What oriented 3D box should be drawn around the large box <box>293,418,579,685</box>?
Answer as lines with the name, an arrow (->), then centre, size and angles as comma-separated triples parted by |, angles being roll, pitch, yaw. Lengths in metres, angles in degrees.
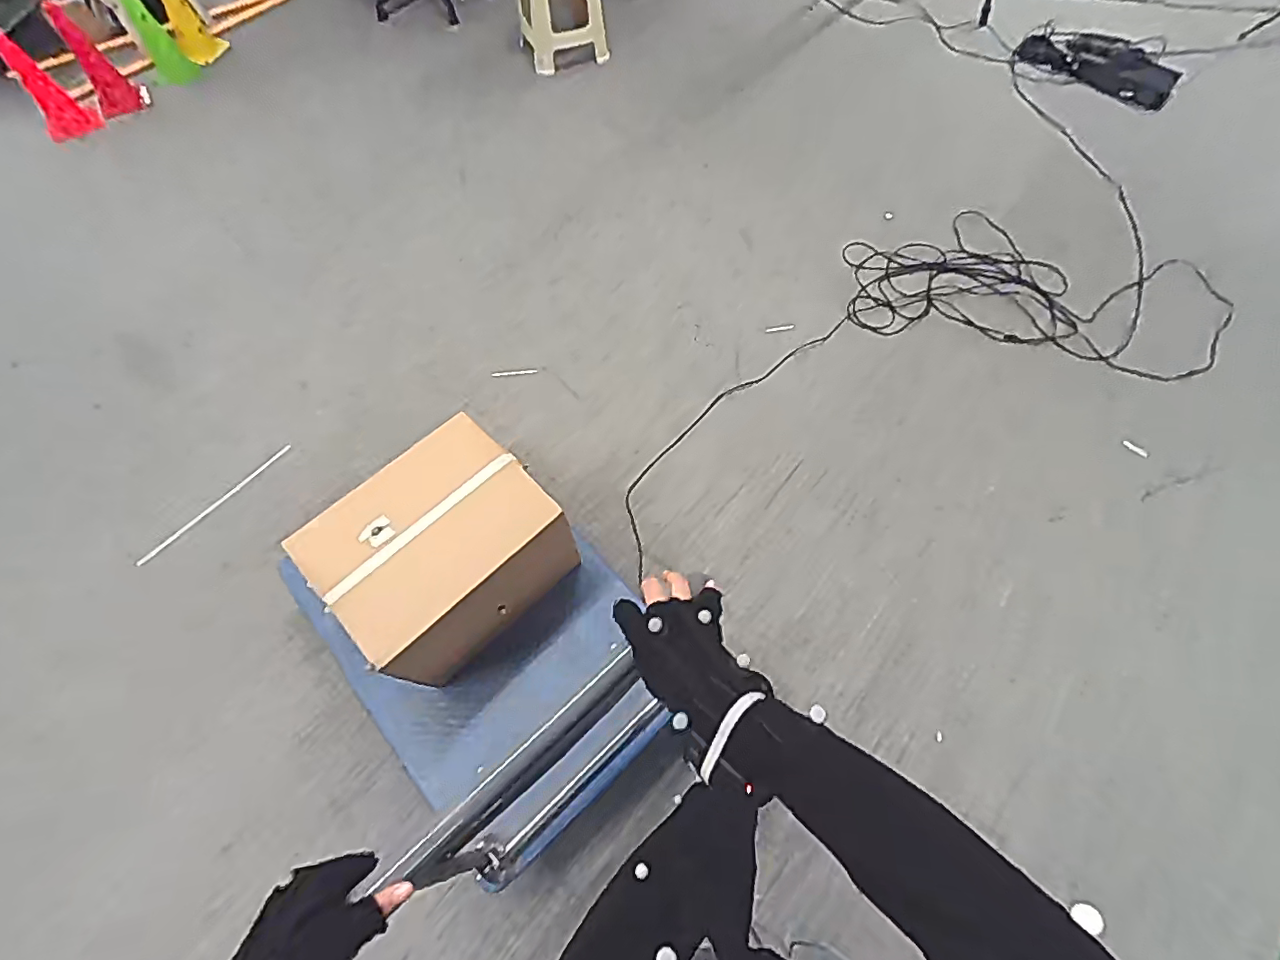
large box -> -0.384, 0.157, 1.125 | 0.320, 0.320, 0.408 | 41, 72, 19
